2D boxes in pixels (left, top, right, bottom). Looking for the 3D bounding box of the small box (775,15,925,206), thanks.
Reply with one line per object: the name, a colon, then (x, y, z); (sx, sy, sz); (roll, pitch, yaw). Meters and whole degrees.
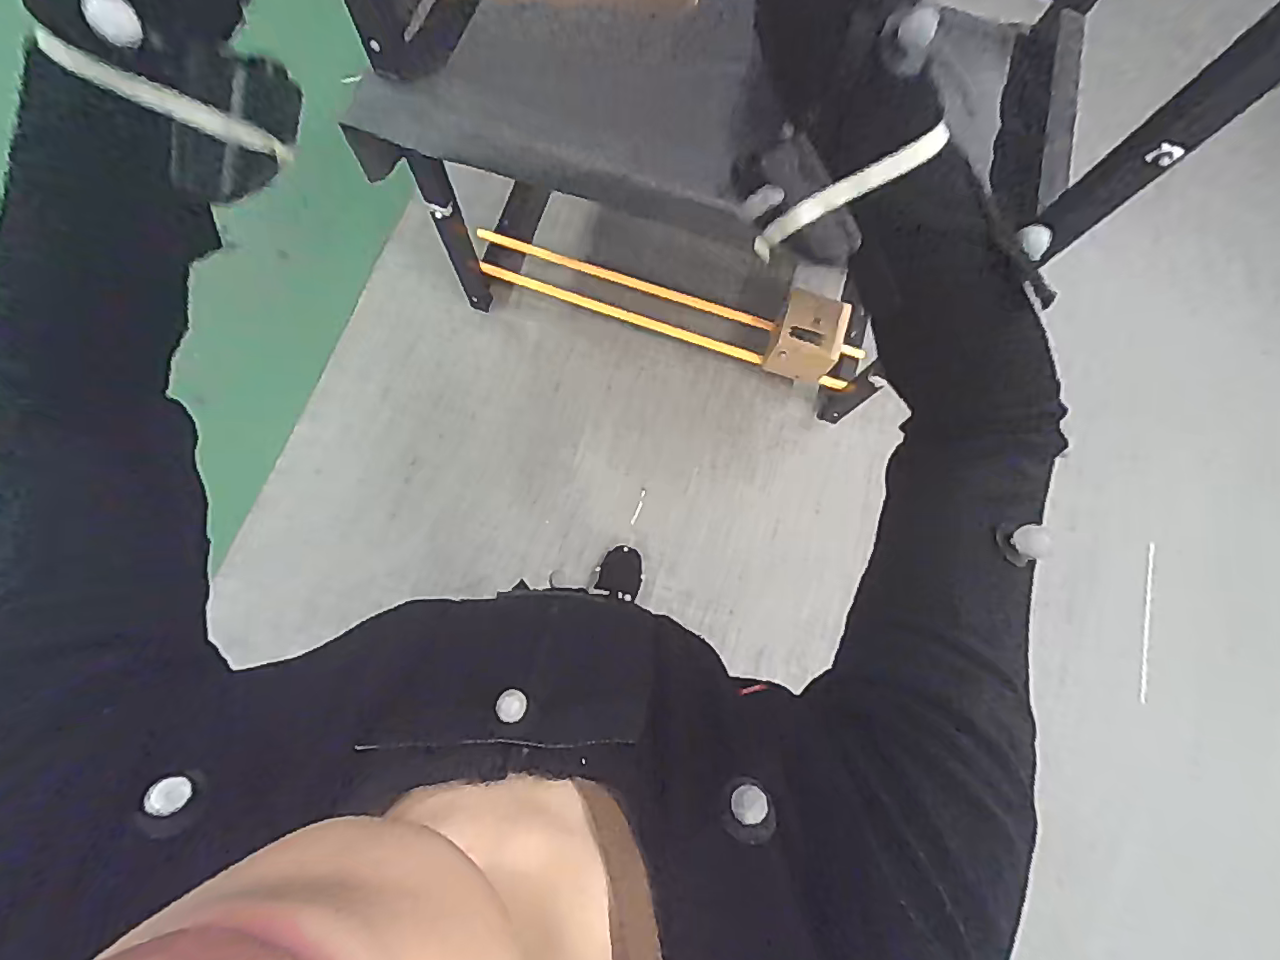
small box: (0.338, -0.601, 0.897); (0.168, 0.176, 0.179); (17, 75, 1)
